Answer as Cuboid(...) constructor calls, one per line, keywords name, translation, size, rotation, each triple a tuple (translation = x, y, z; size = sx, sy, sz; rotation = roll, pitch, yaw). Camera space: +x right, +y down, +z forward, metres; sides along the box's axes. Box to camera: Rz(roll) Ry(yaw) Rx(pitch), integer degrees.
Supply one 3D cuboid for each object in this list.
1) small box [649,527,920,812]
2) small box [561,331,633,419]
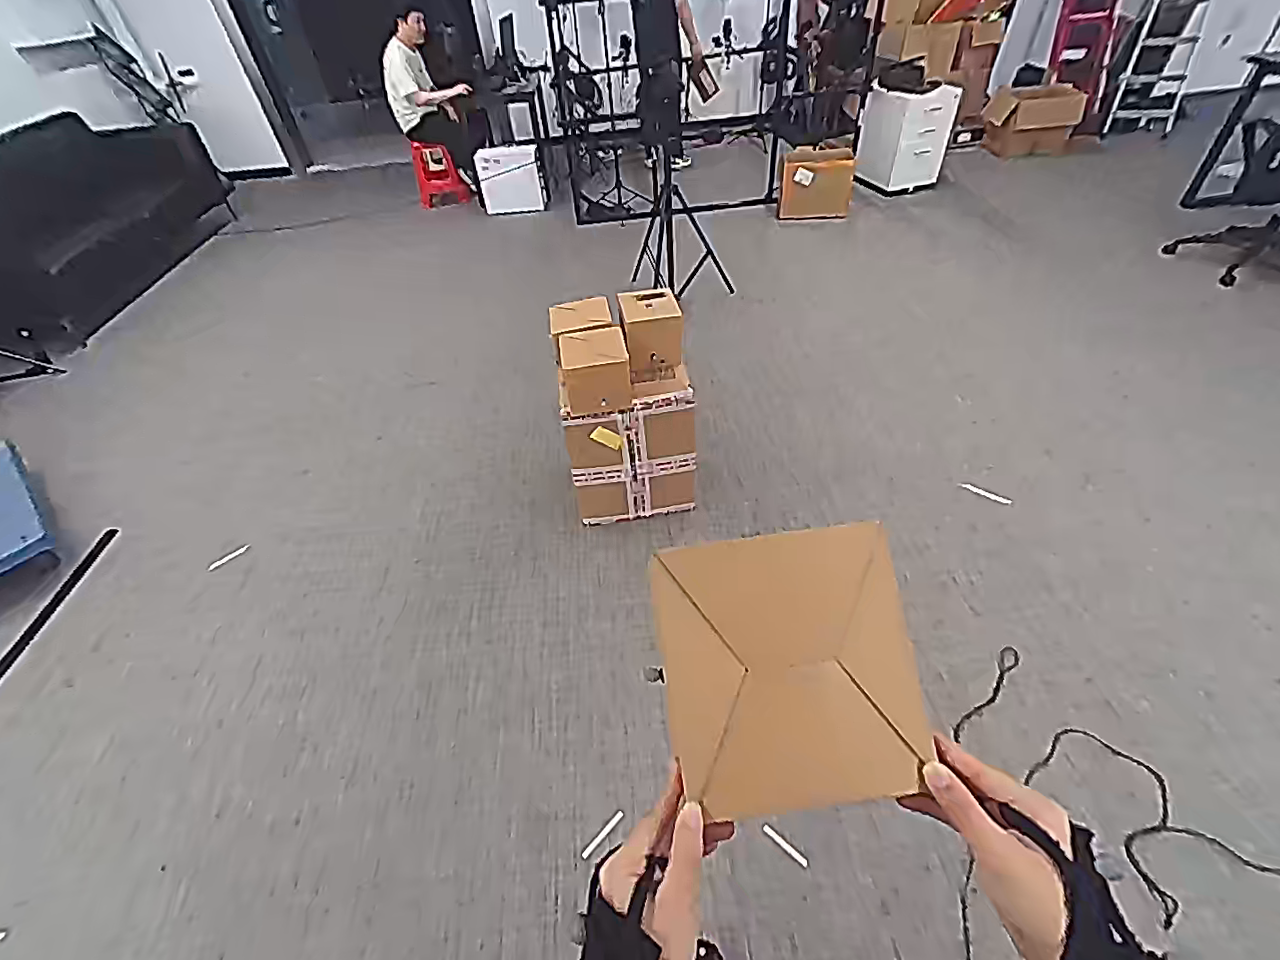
Cuboid(name="small box", translation=(0.100, 0.143, 0.446), size=(0.168, 0.176, 0.179), rotation=(-7, 79, -2))
Cuboid(name="small box", translation=(-0.122, -0.297, 1.514), size=(0.179, 0.176, 0.168), rotation=(-9, 47, -3))
